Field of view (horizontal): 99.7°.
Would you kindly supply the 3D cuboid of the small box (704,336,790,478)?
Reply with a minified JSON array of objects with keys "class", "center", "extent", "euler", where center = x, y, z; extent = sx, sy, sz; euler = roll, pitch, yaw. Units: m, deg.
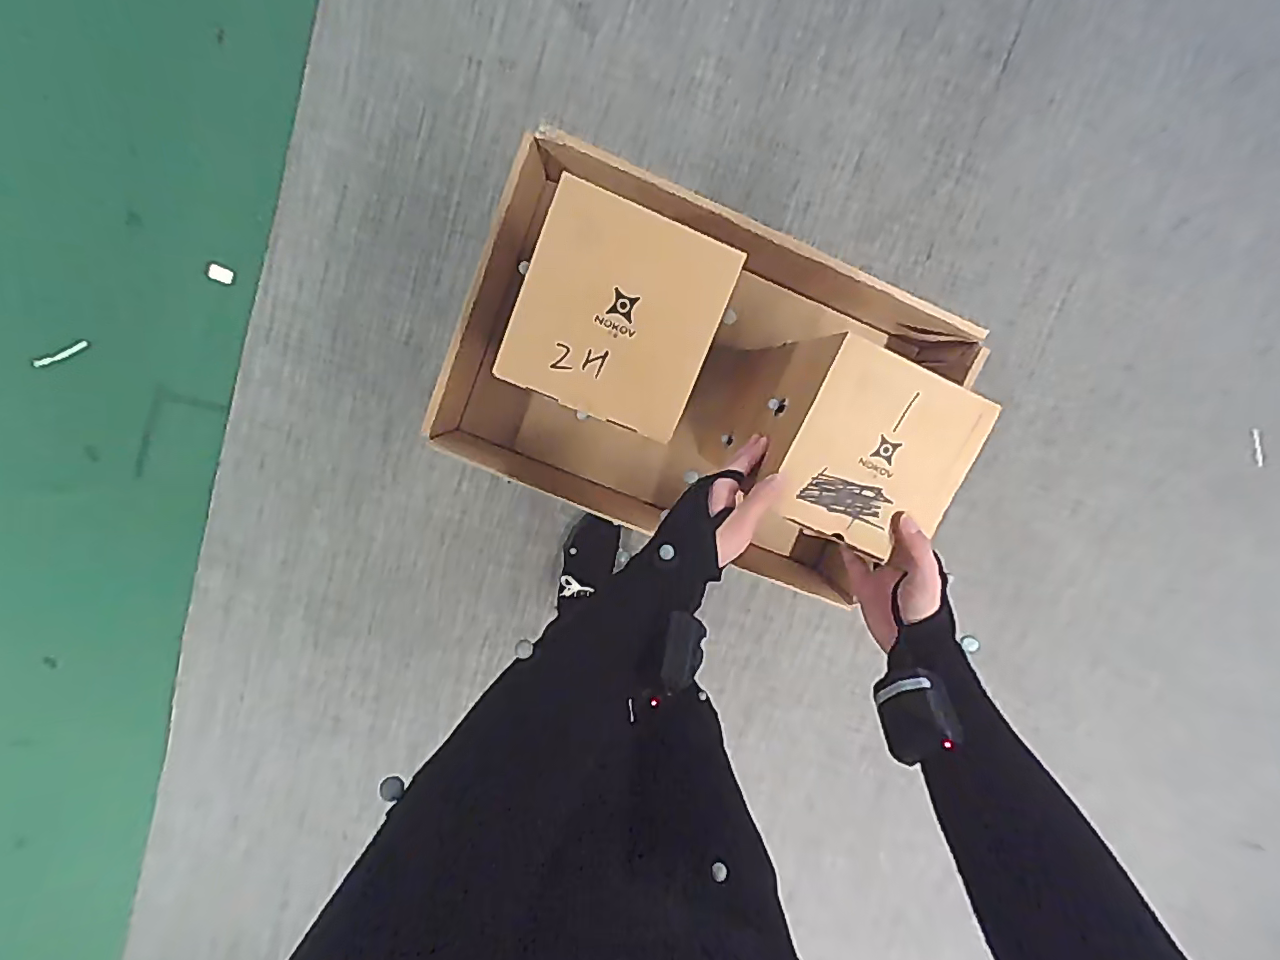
[{"class":"small box","center":[0.200,-0.074,0.724],"extent":[0.168,0.176,0.179],"euler":[23,99,-7]}]

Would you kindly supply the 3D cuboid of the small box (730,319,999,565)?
[{"class":"small box","center":[0.209,-0.043,0.562],"extent":[0.168,0.176,0.179],"euler":[24,98,-8]}]

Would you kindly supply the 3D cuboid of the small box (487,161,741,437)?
[{"class":"small box","center":[-0.027,-0.159,0.526],"extent":[0.168,0.176,0.179],"euler":[22,98,-6]}]
